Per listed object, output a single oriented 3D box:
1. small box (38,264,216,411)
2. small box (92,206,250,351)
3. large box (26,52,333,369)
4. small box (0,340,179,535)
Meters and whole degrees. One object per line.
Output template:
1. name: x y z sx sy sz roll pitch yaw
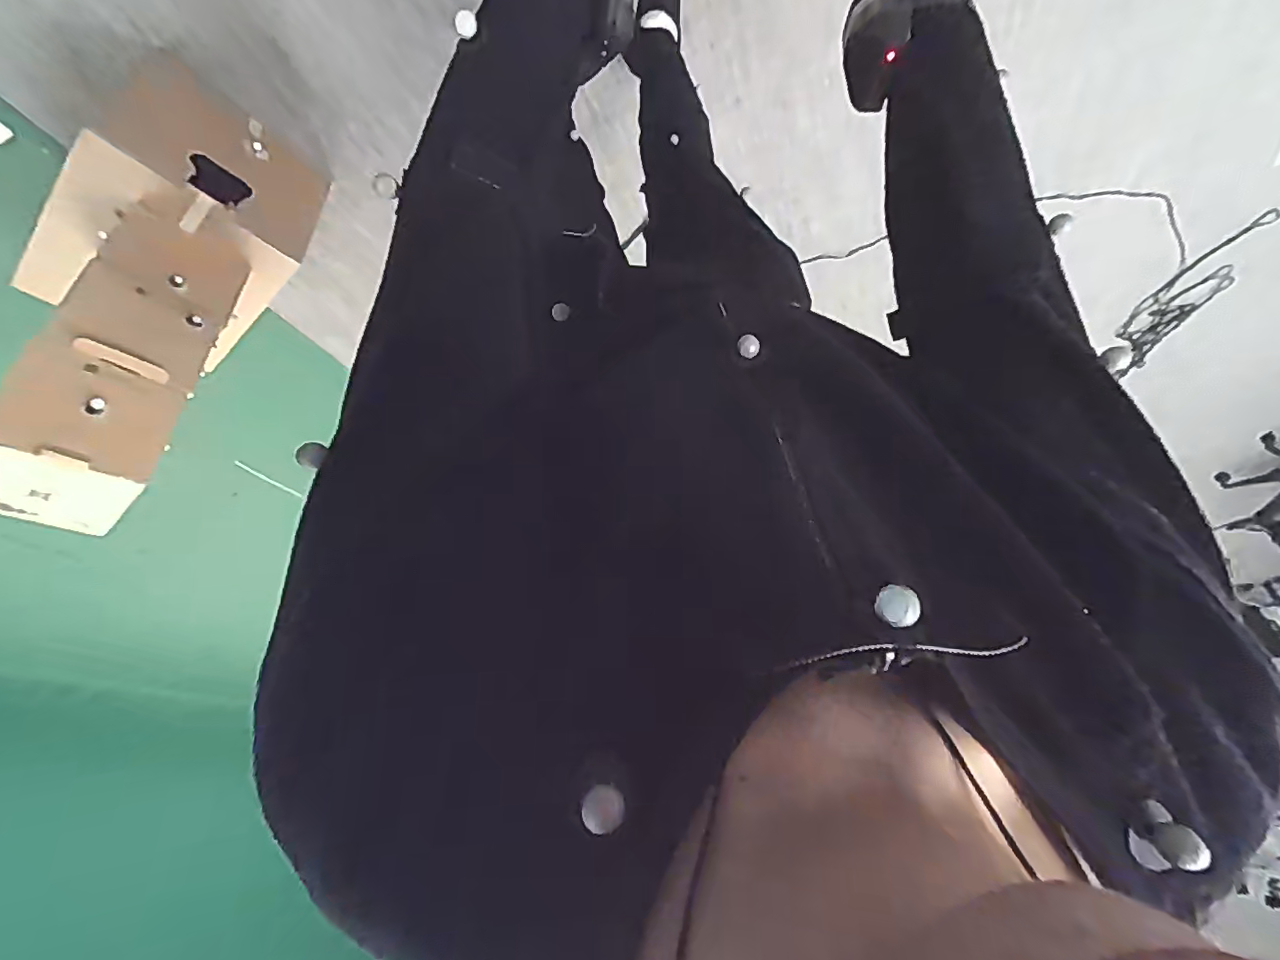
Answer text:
1. small box: -0.789 -0.189 0.826 0.179 0.176 0.168 -29 141 27
2. small box: -0.811 -0.319 0.922 0.168 0.176 0.179 -29 141 26
3. large box: -0.883 -0.505 1.070 0.408 0.320 0.320 -28 140 28
4. small box: -0.772 -0.054 0.733 0.179 0.176 0.168 -30 140 26
